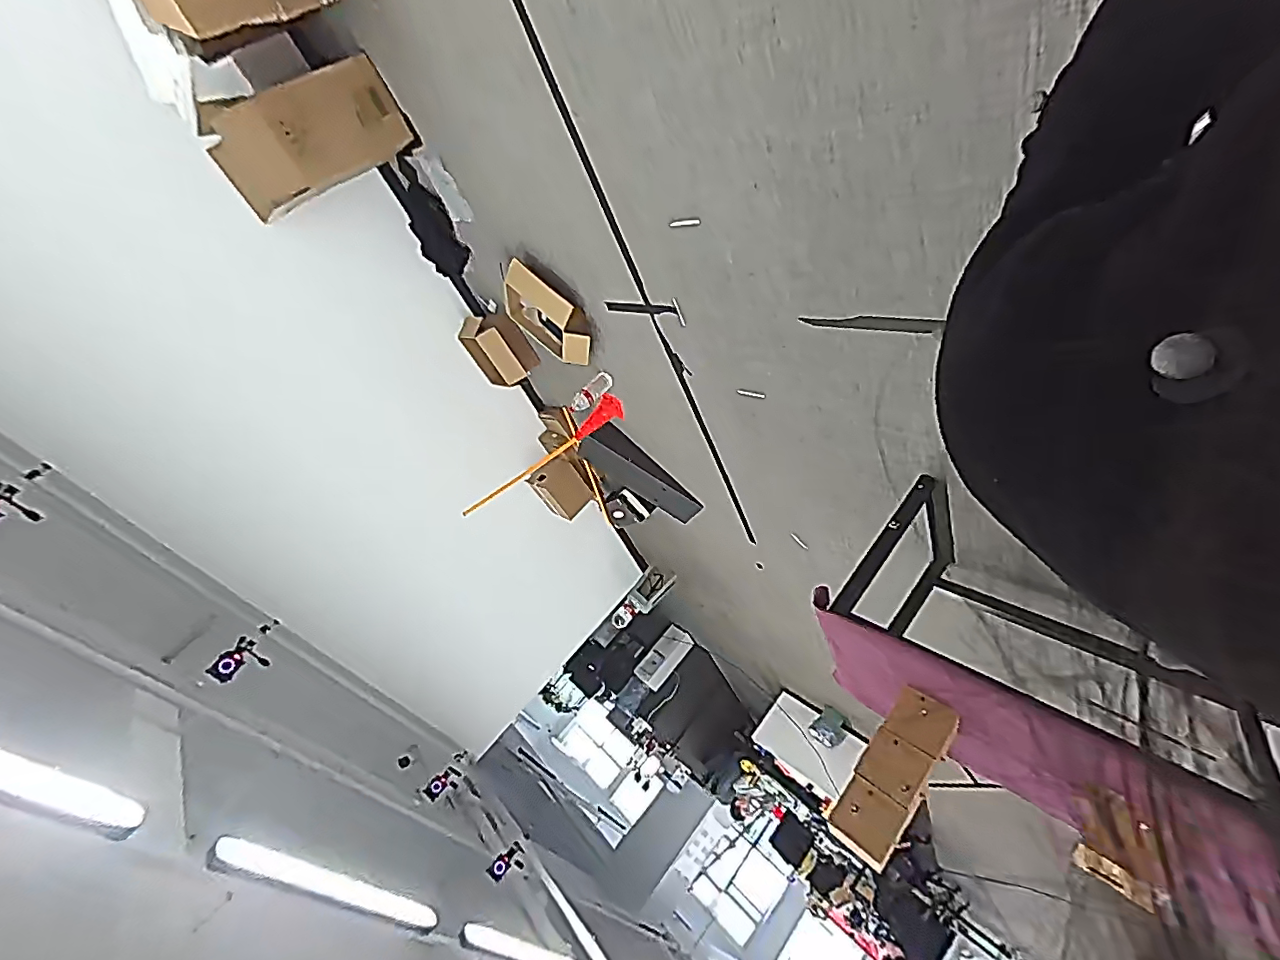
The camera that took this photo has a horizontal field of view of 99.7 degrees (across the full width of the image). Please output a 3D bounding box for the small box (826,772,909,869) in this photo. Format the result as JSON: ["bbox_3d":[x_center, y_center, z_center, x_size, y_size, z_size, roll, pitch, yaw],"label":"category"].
[{"bbox_3d":[0.675,1.001,1.600,0.168,0.176,0.179,28,156,40],"label":"small box"}]

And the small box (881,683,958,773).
[{"bbox_3d":[0.888,0.784,1.719,0.168,0.176,0.179,25,152,40],"label":"small box"}]

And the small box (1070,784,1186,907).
[{"bbox_3d":[1.205,0.900,1.340,0.168,0.176,0.179,23,151,44],"label":"small box"}]
